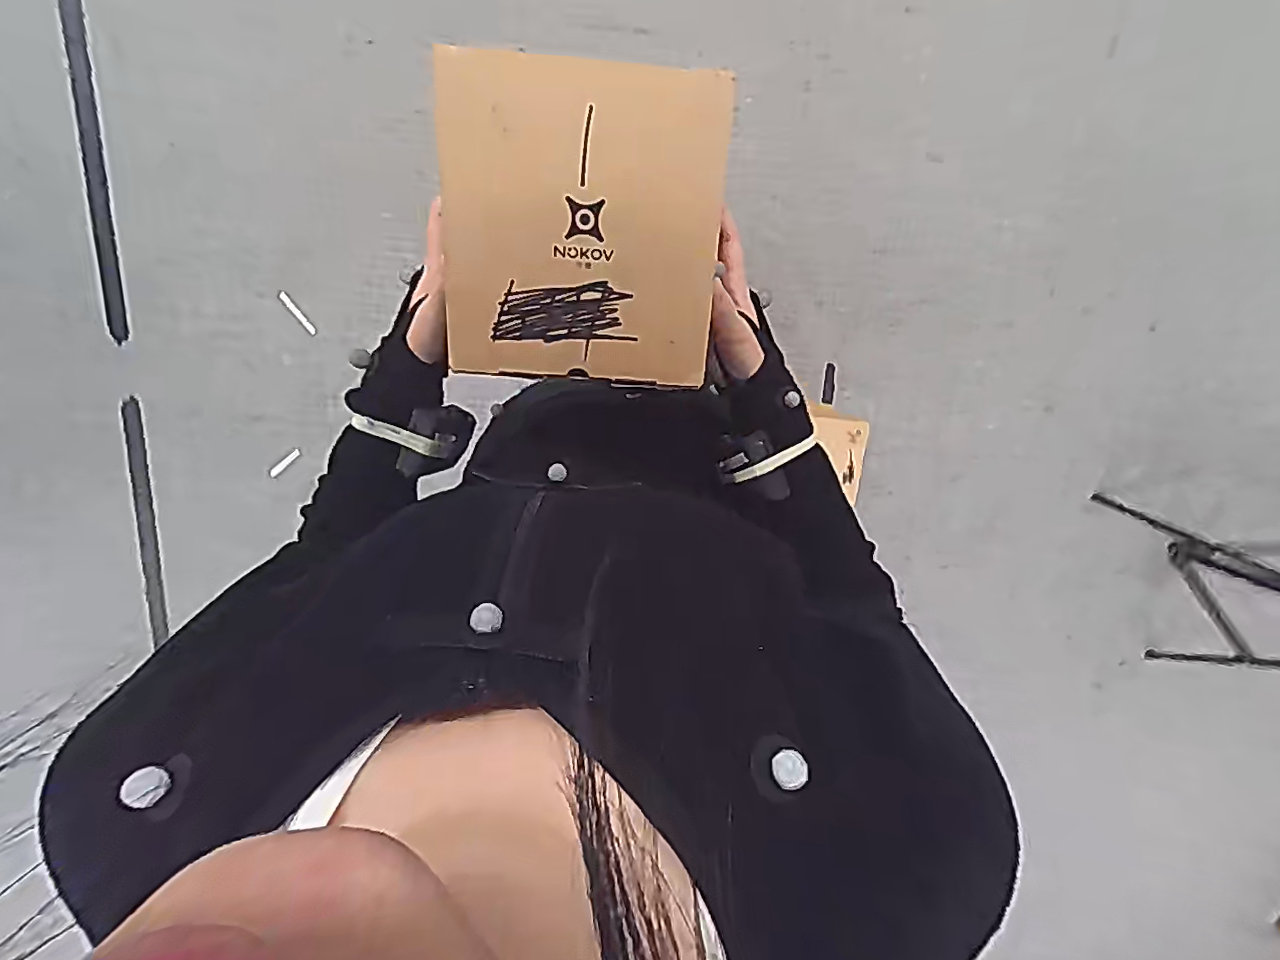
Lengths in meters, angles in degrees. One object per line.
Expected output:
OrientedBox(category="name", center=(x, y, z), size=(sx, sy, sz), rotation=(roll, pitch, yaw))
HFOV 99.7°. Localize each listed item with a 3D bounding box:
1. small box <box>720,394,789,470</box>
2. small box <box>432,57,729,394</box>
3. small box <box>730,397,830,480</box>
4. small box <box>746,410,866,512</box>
OrientedBox(category="small box", center=(0.307, -0.124, 1.399), size=(0.168, 0.176, 0.179), rotation=(4, 103, -3))
OrientedBox(category="small box", center=(-0.039, -0.169, 0.398), size=(0.168, 0.176, 0.179), rotation=(2, 109, -3))
OrientedBox(category="small box", center=(0.311, -0.092, 1.238), size=(0.168, 0.176, 0.179), rotation=(6, 103, -3))
OrientedBox(category="small box", center=(0.319, -0.045, 1.081), size=(0.179, 0.176, 0.168), rotation=(6, 103, -3))
